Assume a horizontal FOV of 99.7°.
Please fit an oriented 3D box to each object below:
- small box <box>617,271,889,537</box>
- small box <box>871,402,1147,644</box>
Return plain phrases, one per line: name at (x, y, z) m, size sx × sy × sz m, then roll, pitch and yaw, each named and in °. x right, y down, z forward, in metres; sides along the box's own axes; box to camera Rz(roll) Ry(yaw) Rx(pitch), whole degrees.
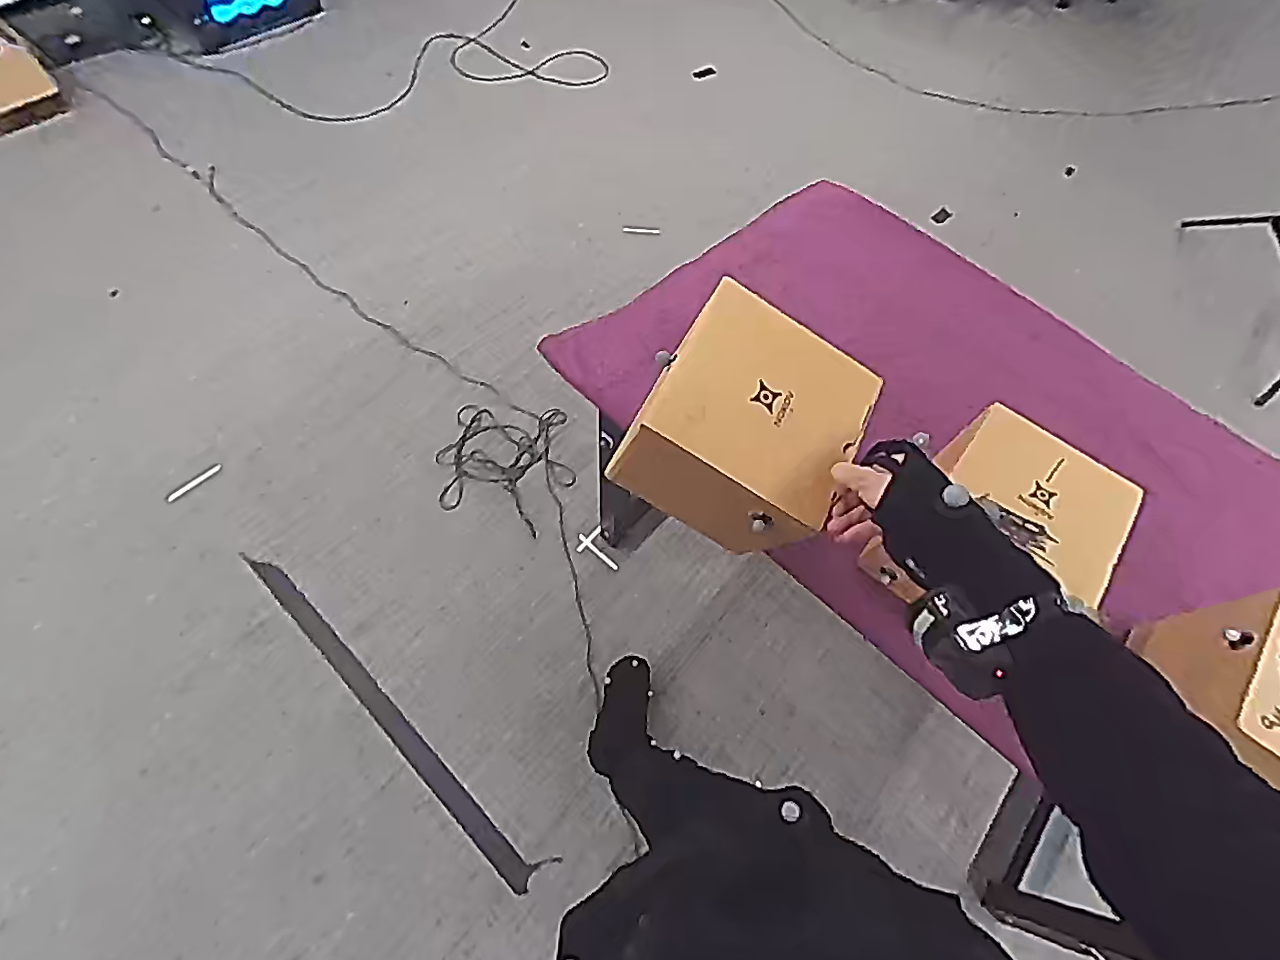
small box at (0.097, -0.057, 0.533) m, size 0.179 × 0.176 × 0.168 m, roll 32°, pitch 72°, yaw -6°
small box at (0.388, 0.056, 0.601) m, size 0.168 × 0.176 × 0.179 m, roll 38°, pitch 66°, yaw 14°
